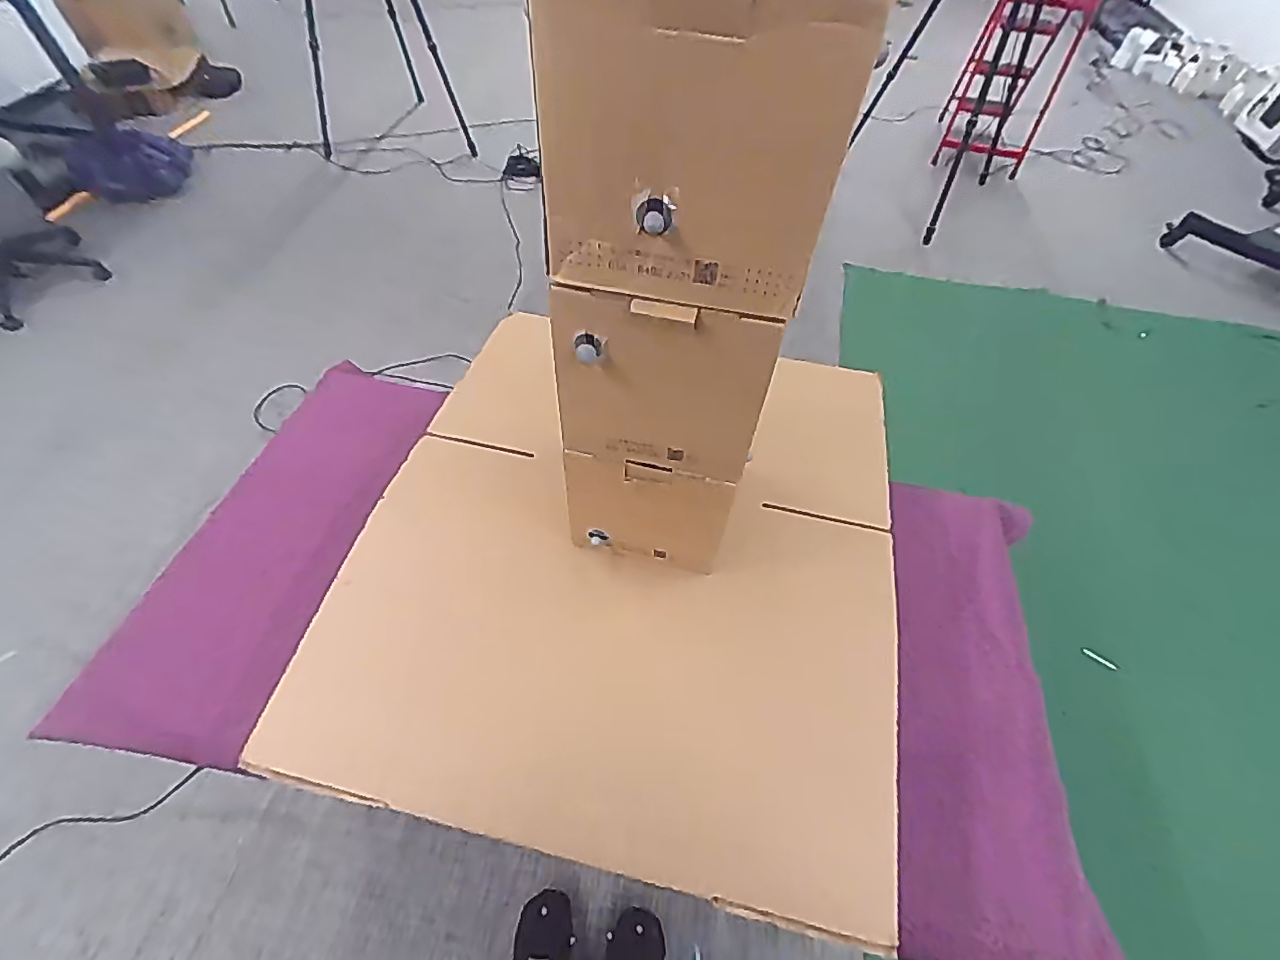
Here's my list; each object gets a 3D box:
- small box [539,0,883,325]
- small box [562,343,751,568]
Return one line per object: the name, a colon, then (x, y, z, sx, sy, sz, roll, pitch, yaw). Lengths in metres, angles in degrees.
small box: (0.039, -0.233, 0.359, 0.168, 0.176, 0.179, 10, 51, 4)
small box: (0.021, -0.024, 0.611, 0.168, 0.176, 0.179, 12, 52, 6)
